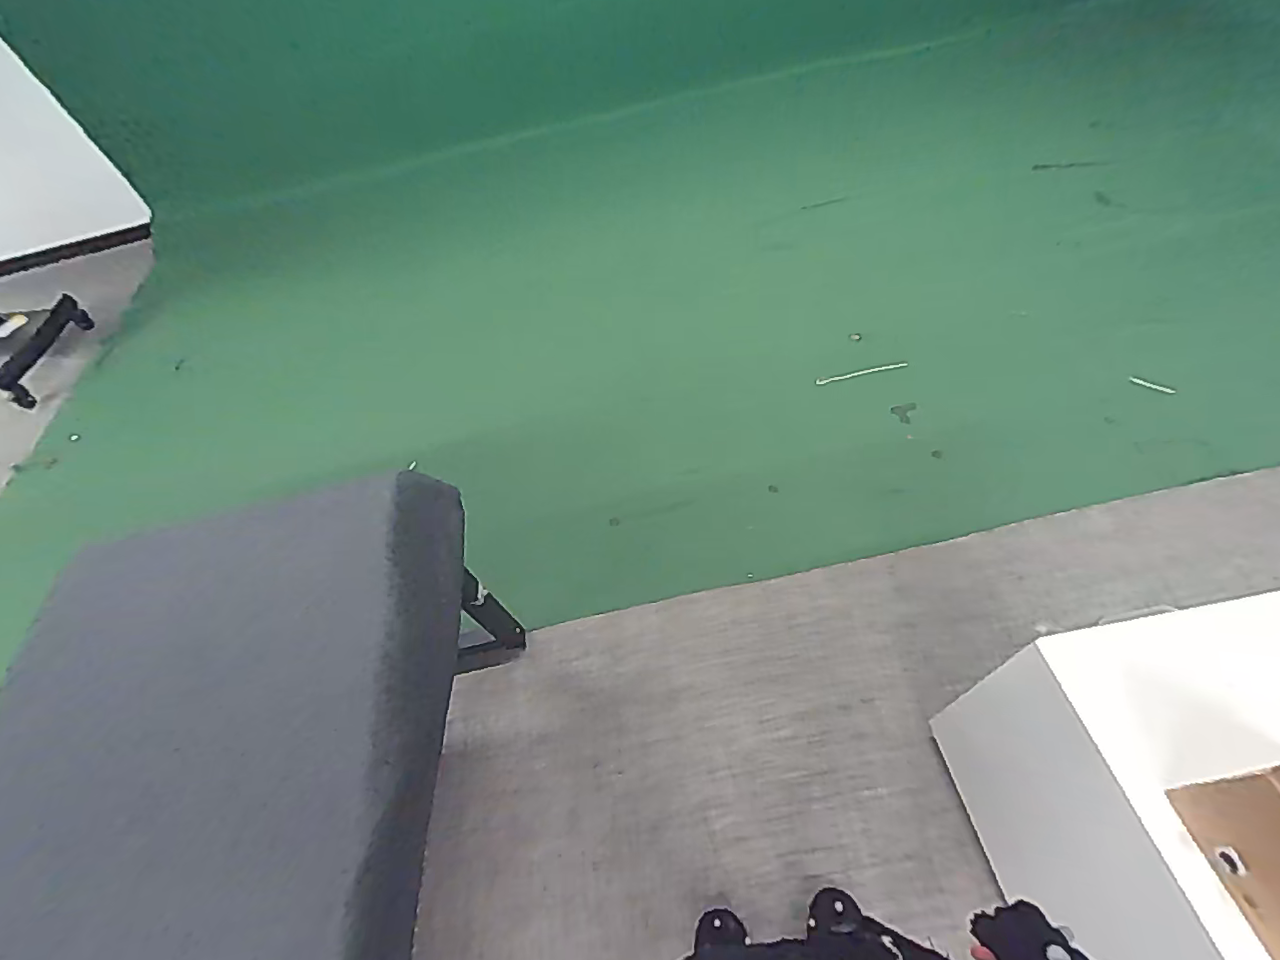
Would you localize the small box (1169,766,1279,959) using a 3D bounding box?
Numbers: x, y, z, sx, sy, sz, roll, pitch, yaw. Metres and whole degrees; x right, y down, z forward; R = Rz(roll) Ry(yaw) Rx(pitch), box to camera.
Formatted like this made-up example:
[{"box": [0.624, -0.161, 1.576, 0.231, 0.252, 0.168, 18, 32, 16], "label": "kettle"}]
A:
[{"box": [0.691, 0.364, 0.517, 0.179, 0.176, 0.168, -15, 53, 3], "label": "small box"}]
